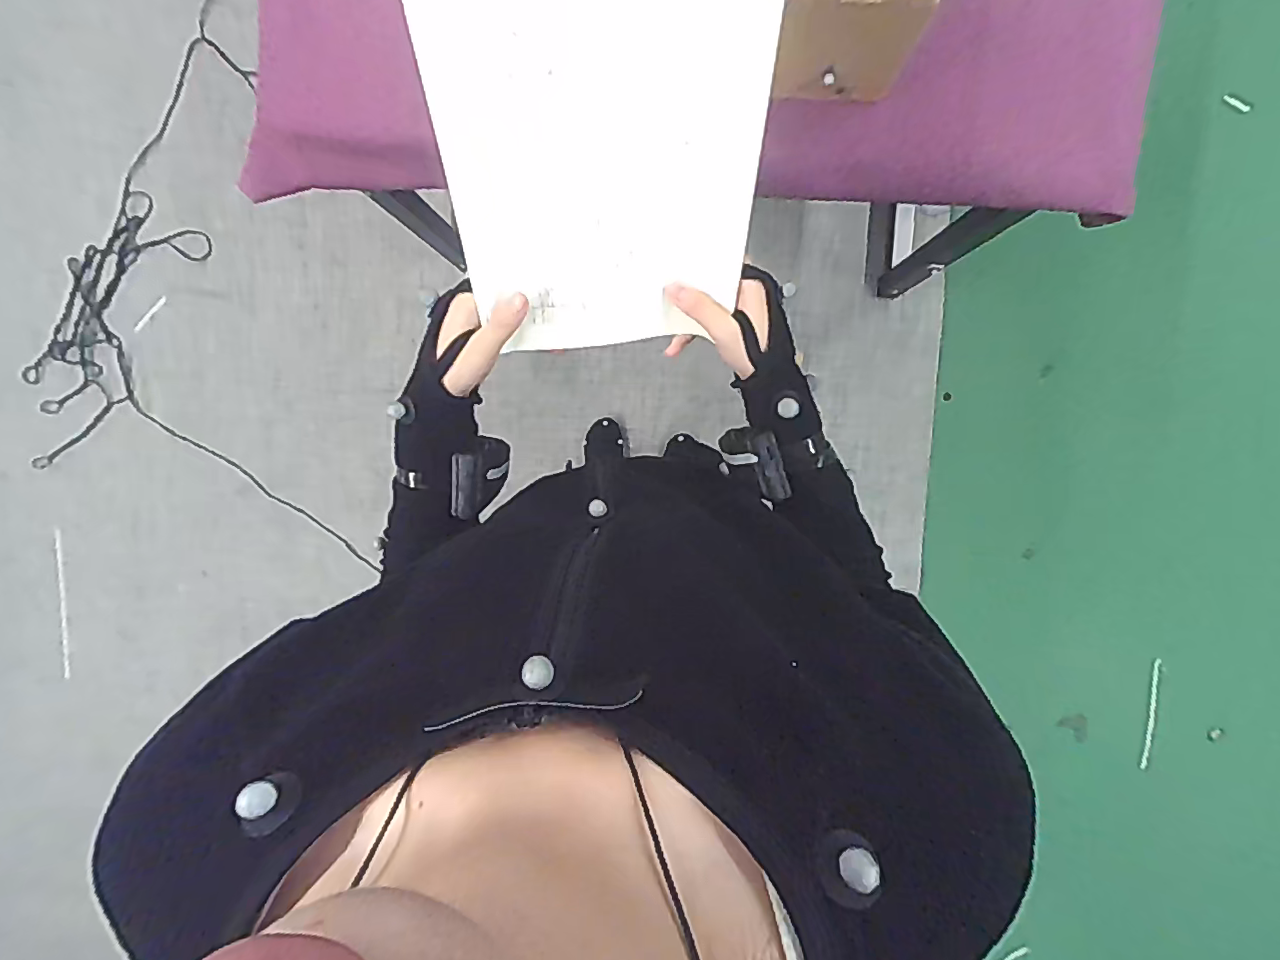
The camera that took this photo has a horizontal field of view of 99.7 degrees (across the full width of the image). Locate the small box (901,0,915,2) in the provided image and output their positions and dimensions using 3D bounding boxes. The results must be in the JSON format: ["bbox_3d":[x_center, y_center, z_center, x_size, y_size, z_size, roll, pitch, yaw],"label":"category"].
[{"bbox_3d":[0.234,-0.594,0.487,0.168,0.176,0.179,5,94,2],"label":"small box"}]
